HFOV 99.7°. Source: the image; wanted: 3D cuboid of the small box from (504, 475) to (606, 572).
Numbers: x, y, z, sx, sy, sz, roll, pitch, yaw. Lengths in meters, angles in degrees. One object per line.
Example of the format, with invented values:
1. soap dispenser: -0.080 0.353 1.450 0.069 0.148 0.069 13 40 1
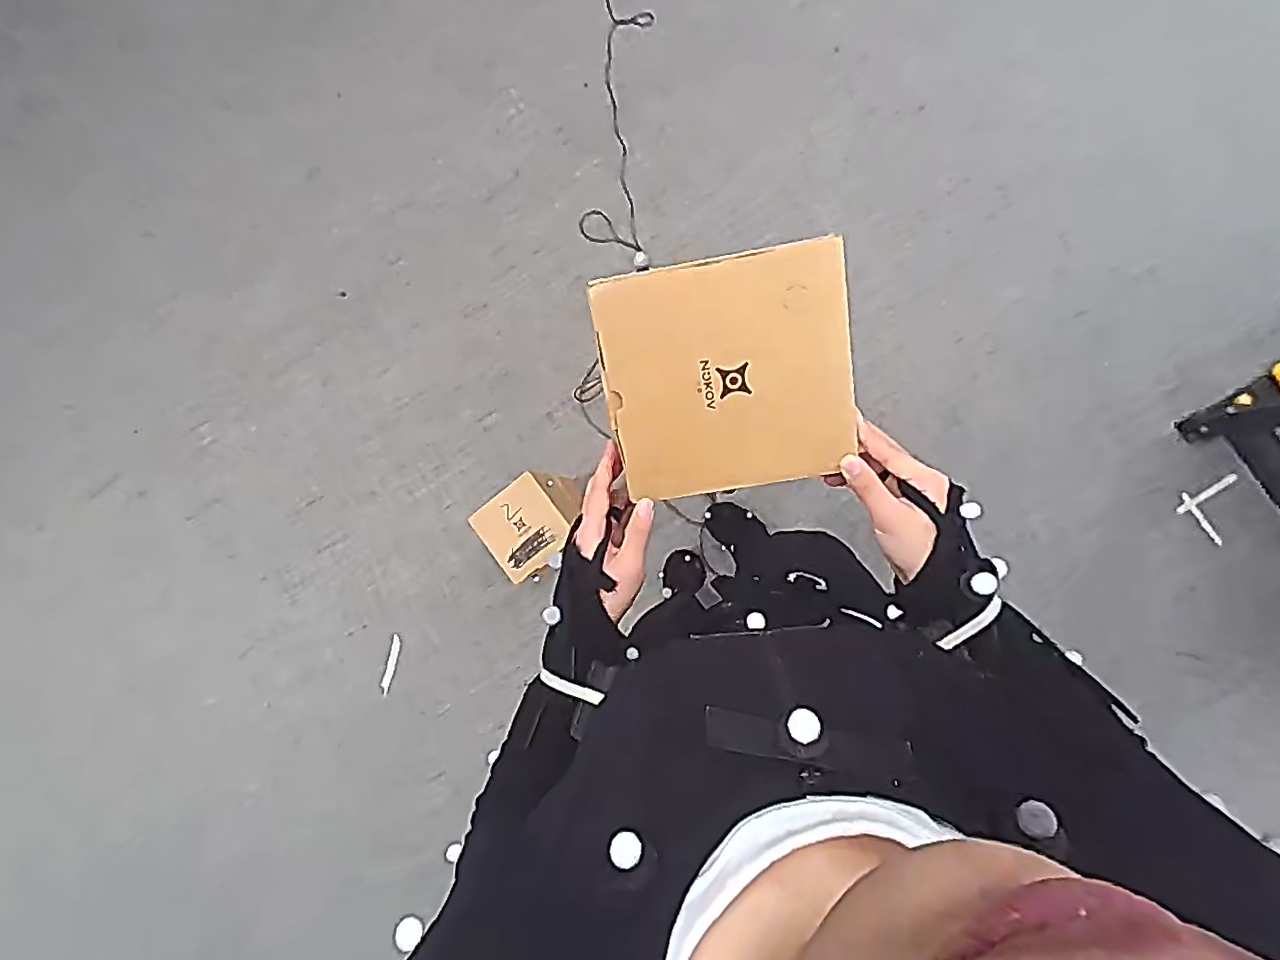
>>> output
1. small box: -0.202 0.104 1.344 0.168 0.176 0.179 -33 84 3

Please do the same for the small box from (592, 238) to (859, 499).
1. small box: 0.070 -0.099 0.461 0.179 0.176 0.168 -8 108 8
